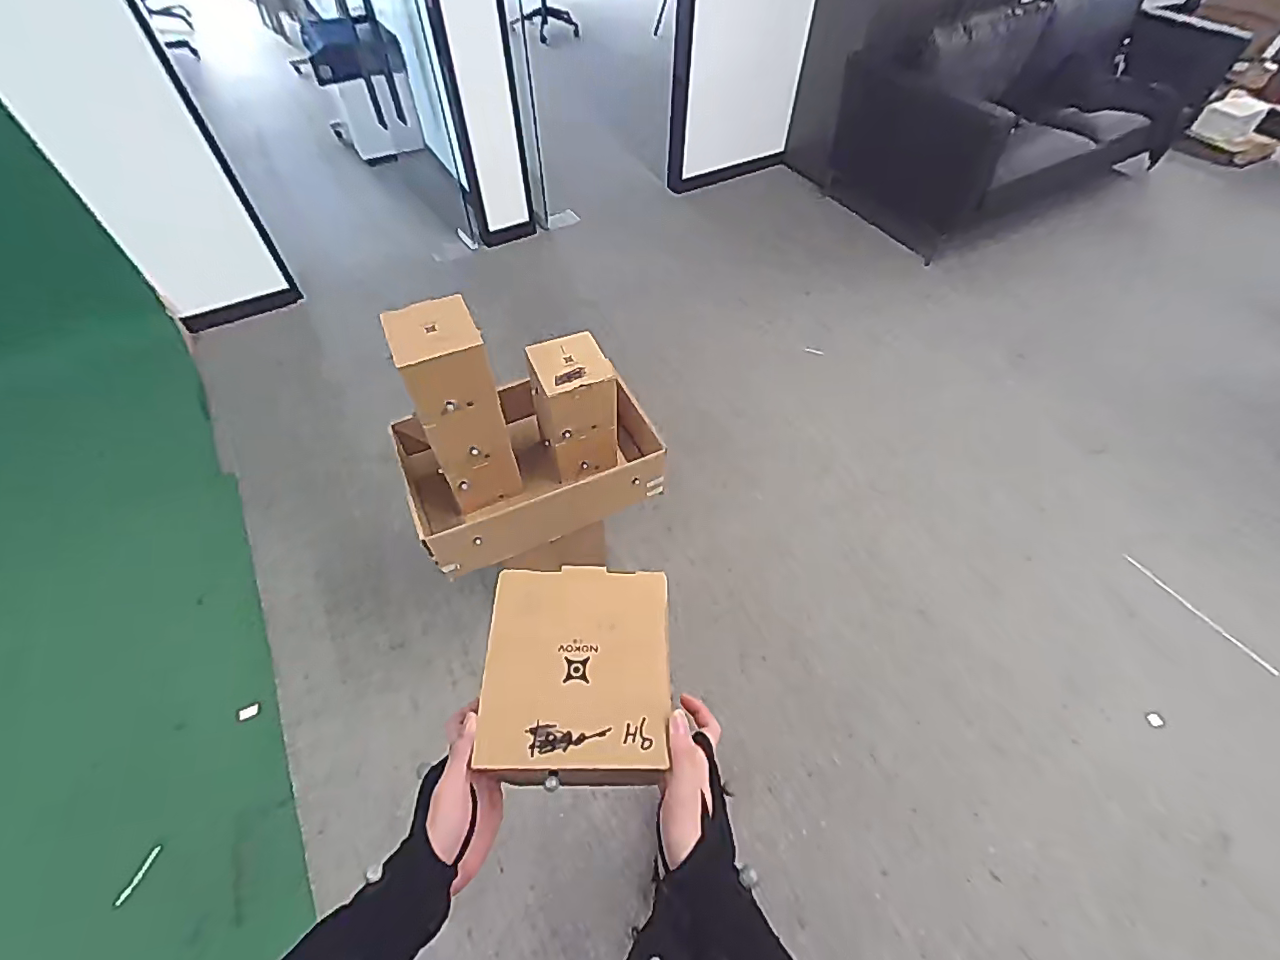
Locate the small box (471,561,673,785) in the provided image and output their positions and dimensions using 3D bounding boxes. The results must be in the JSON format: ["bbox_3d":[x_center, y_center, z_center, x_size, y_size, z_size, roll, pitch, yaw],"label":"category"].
[{"bbox_3d":[-0.057,0.198,0.545,0.168,0.176,0.179,1,55,-1],"label":"small box"}]

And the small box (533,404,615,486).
[{"bbox_3d":[-0.173,-0.116,1.433,0.168,0.176,0.179,-20,57,-15],"label":"small box"}]

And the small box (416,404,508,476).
[{"bbox_3d":[-0.417,-0.141,1.238,0.168,0.176,0.179,-21,56,-16],"label":"small box"}]

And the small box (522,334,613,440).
[{"bbox_3d":[-0.169,-0.216,1.302,0.168,0.176,0.179,-19,56,-15],"label":"small box"}]

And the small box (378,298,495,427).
[{"bbox_3d":[-0.412,-0.239,1.109,0.168,0.176,0.179,-21,56,-15],"label":"small box"}]
